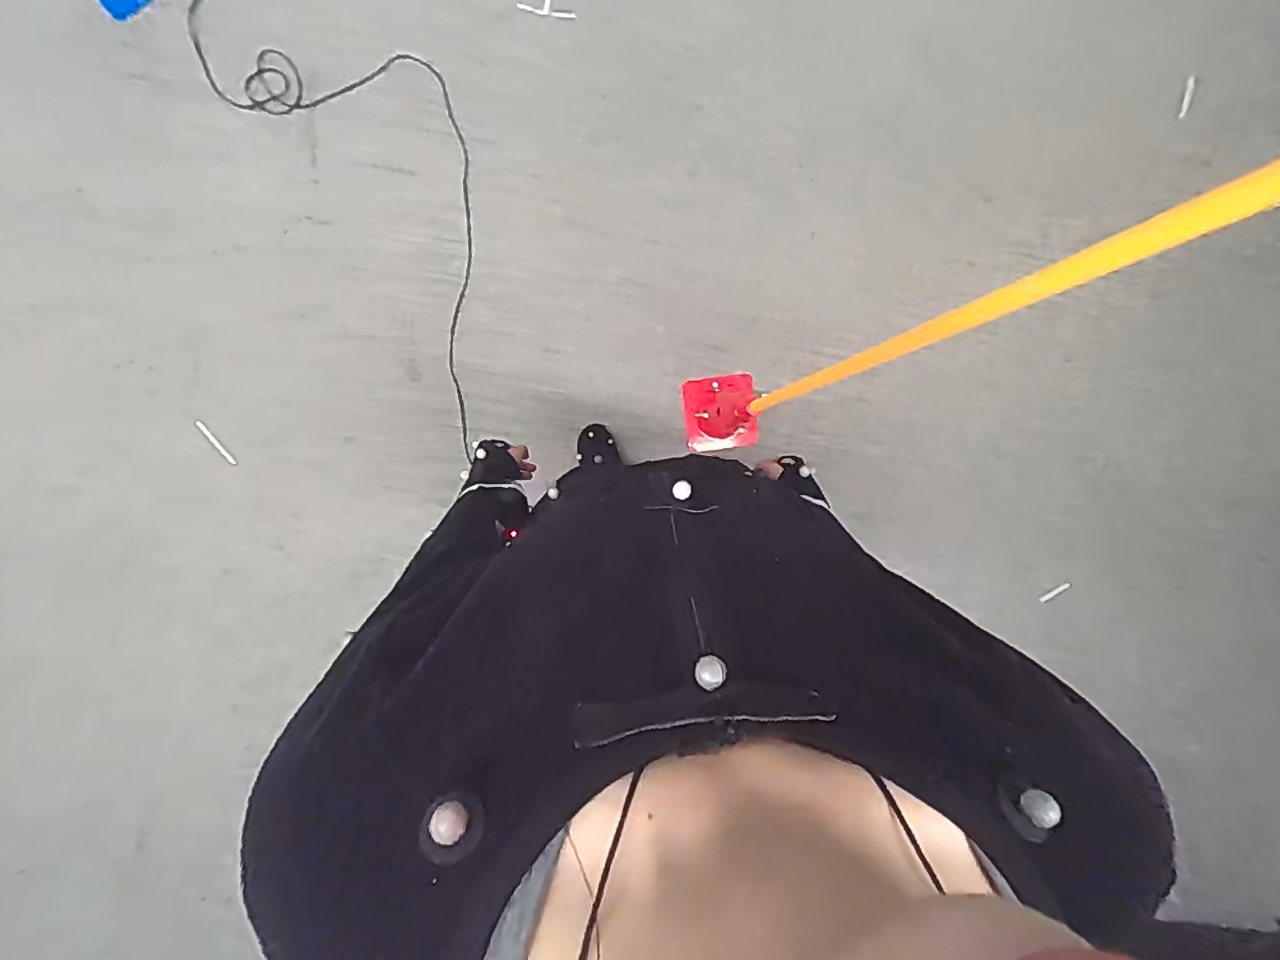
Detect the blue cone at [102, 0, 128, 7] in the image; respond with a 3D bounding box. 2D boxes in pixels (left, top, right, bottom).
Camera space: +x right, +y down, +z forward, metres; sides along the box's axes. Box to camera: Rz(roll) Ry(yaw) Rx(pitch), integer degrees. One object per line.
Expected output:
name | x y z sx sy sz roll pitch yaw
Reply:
blue cone | -1.237 -1.222 1.114 0.193 0.380 0.192 -36 98 3
